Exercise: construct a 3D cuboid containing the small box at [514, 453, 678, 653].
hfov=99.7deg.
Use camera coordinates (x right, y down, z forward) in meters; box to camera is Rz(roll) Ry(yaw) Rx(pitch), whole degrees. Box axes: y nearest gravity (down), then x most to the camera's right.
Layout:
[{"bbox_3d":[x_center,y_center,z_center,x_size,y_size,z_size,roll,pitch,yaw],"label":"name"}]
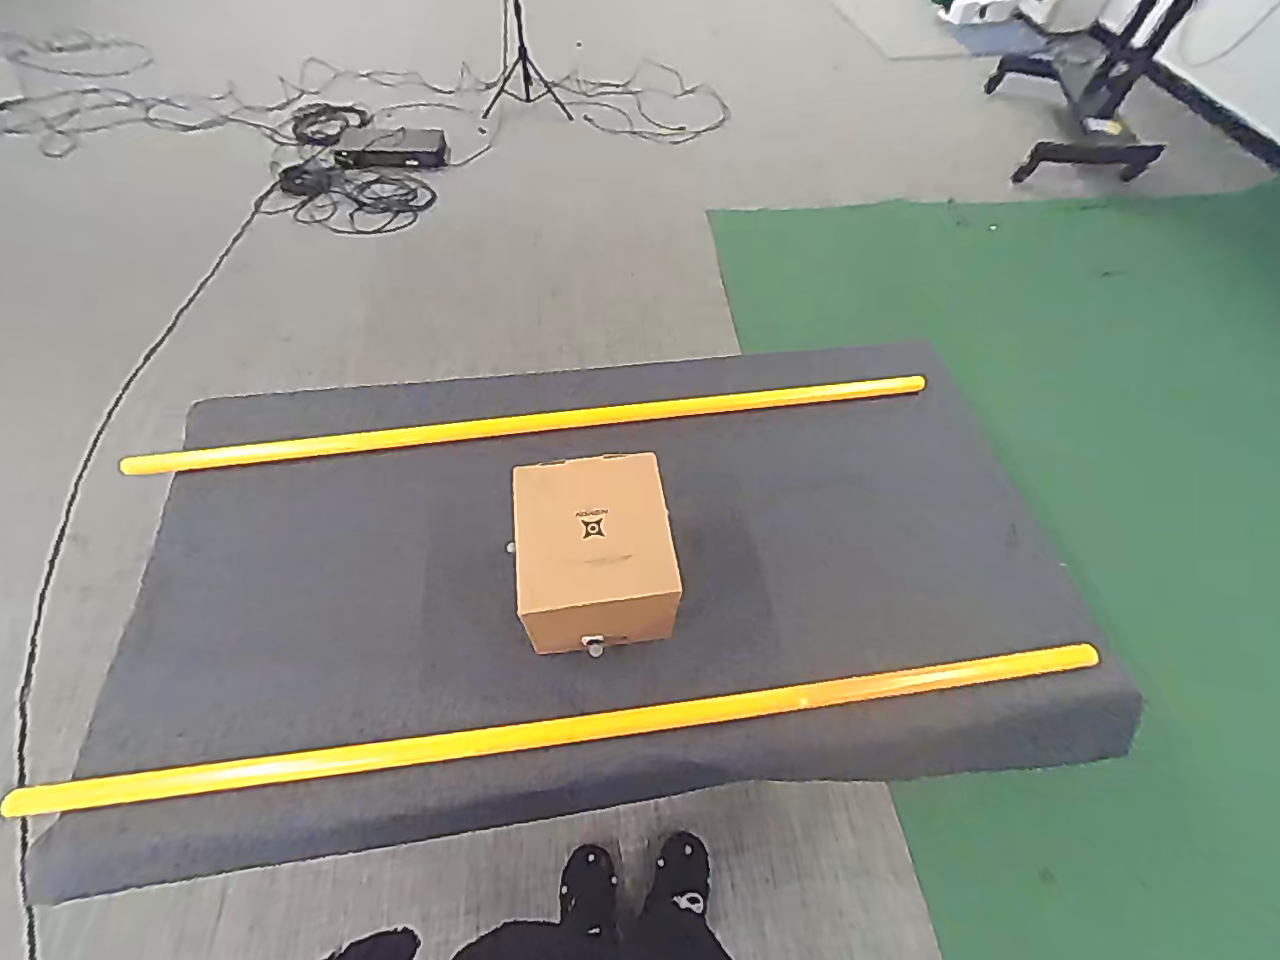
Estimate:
[{"bbox_3d":[-0.056,0.091,0.651,0.168,0.176,0.179,-7,59,-6],"label":"small box"}]
